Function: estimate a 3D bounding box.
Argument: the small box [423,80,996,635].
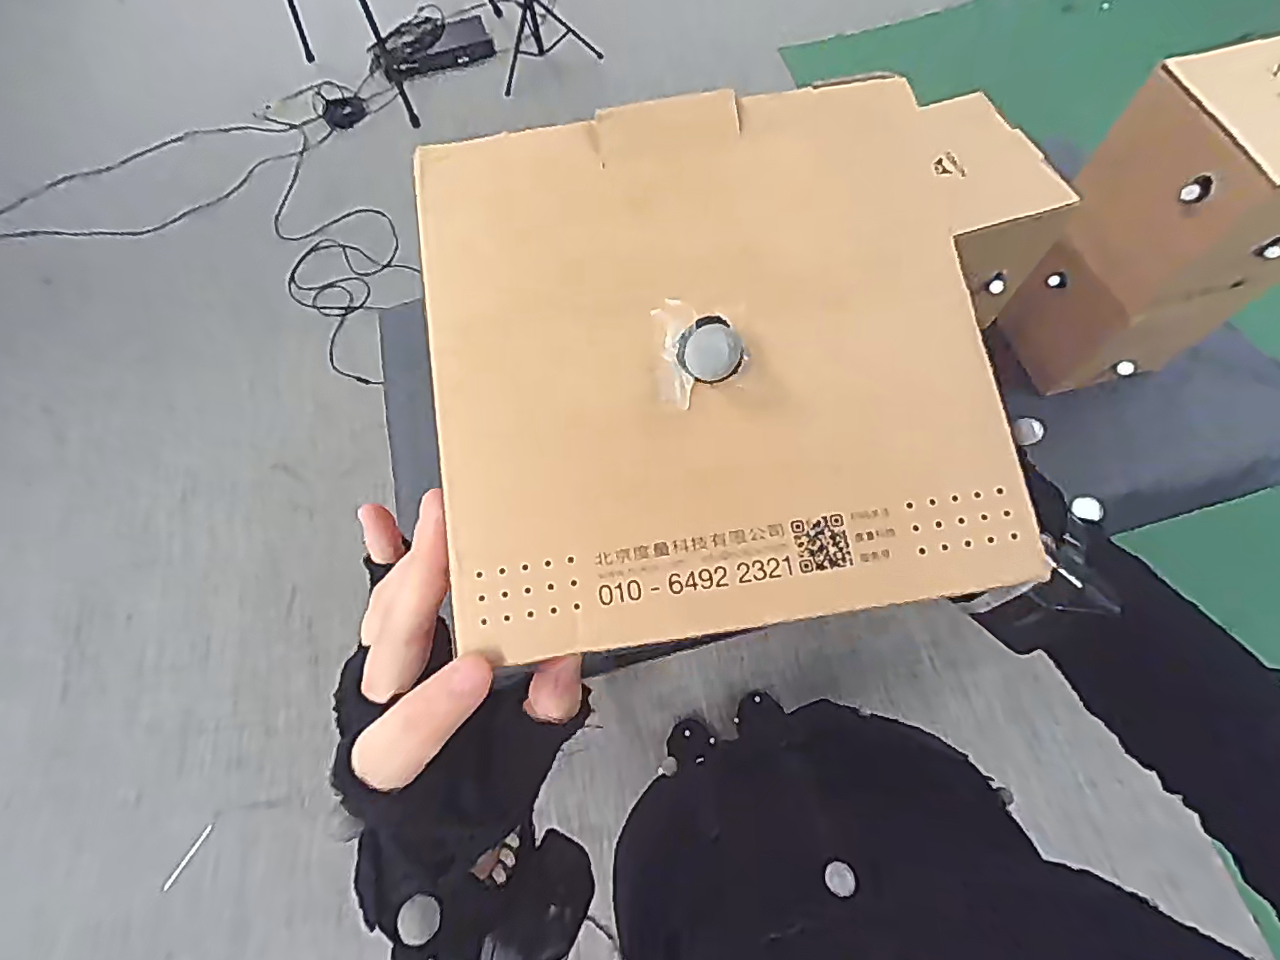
[{"bbox_3d":[0.021,-0.028,0.248,0.168,0.179,0.176,-7,80,-1],"label":"small box"}]

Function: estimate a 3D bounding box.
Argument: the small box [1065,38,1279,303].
[{"bbox_3d":[0.597,-0.307,0.560,0.168,0.176,0.179,-12,66,0],"label":"small box"}]

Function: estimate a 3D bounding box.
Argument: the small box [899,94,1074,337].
[{"bbox_3d":[0.281,-0.252,0.569,0.179,0.176,0.168,-16,65,-1],"label":"small box"}]
